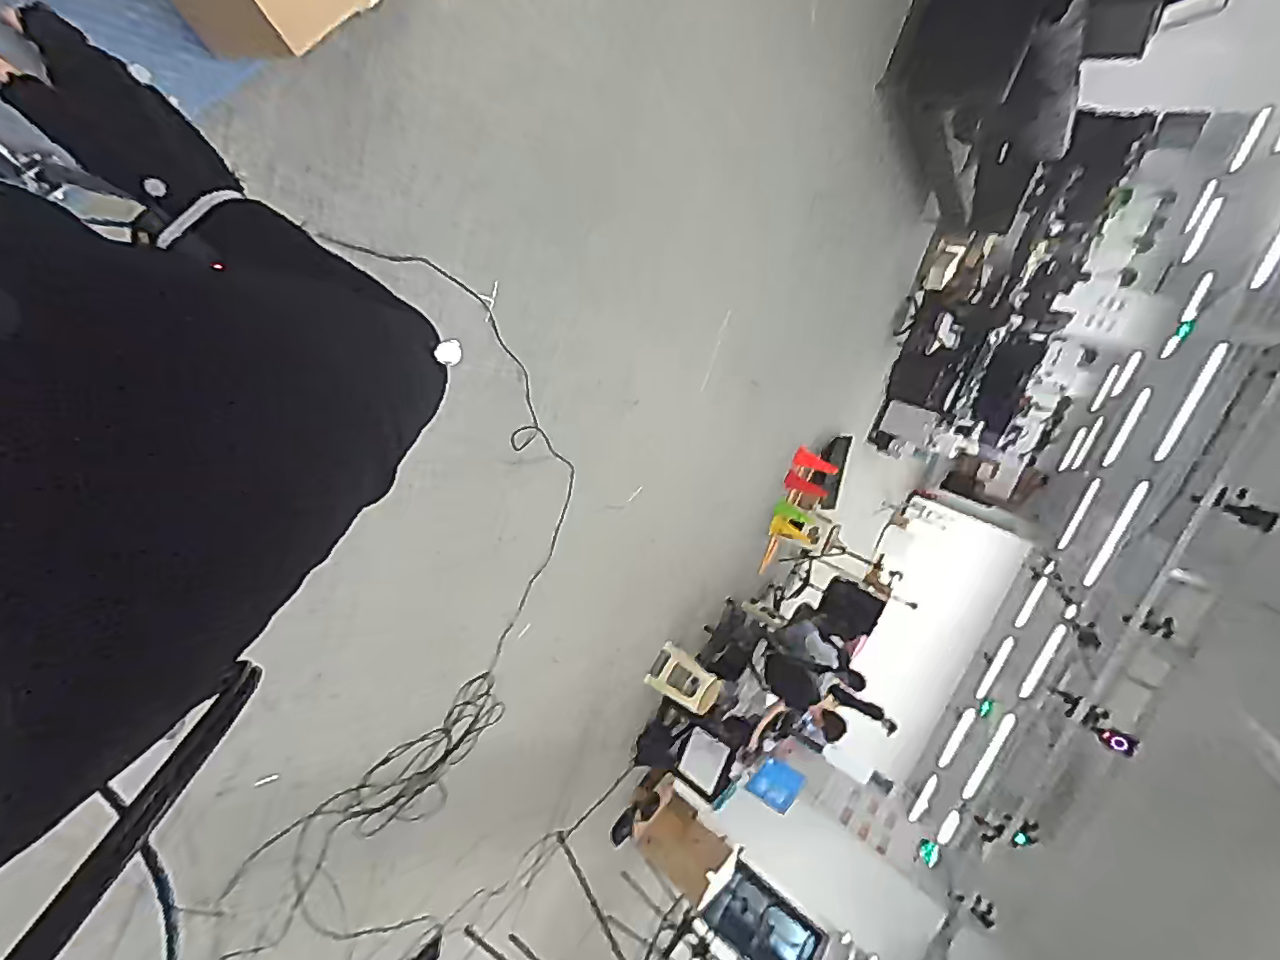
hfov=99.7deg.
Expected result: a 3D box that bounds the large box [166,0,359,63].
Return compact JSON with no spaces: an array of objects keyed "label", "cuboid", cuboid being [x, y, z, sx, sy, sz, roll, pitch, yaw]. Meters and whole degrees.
[{"label":"large box","cuboid":[-0.583,-0.865,0.718,0.320,0.320,0.408,-54,146,-15]}]
